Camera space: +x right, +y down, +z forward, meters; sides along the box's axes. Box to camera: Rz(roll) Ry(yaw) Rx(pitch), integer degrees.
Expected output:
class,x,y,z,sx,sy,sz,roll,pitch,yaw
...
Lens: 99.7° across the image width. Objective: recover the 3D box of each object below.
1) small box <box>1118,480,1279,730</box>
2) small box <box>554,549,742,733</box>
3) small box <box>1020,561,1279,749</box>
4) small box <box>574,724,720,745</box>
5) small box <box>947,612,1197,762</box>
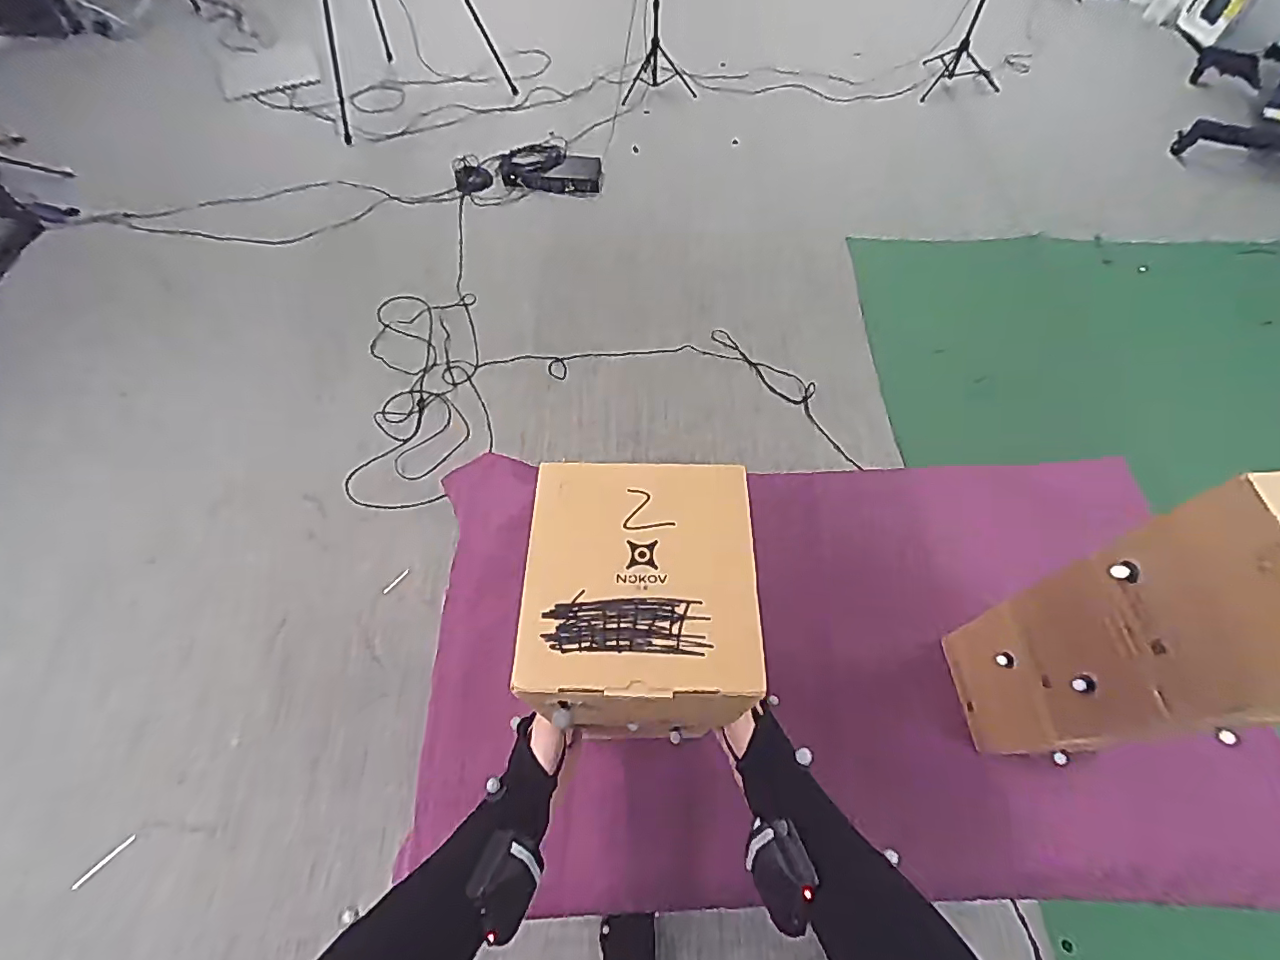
class,x,y,z,sx,sy,sz,roll,pitch,yaw
small box,0.563,0.110,0.453,0.179,0.176,0.168,-2,60,-1
small box,0.007,0.184,0.604,0.179,0.176,0.168,-1,60,0
small box,0.561,0.196,0.592,0.179,0.176,0.168,-1,59,0
small box,0.007,0.265,0.744,0.179,0.176,0.168,0,59,0
small box,0.561,0.282,0.731,0.179,0.176,0.168,-2,58,-1
